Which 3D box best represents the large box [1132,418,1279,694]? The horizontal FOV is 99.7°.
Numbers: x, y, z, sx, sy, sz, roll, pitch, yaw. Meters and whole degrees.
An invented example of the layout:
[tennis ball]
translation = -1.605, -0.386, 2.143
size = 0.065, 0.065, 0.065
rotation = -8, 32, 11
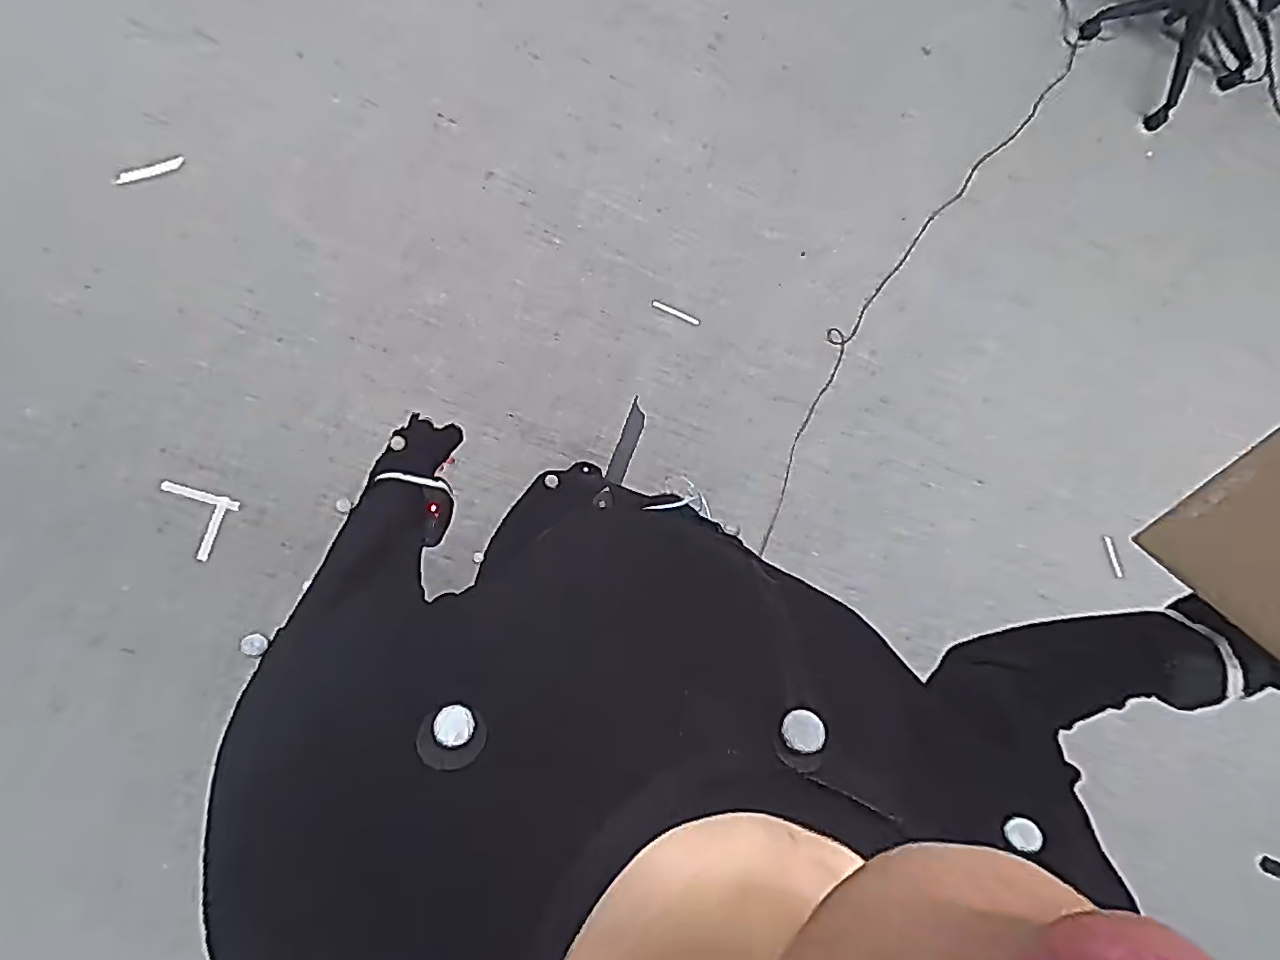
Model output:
[large box]
translation = 0.491, 0.056, 0.195
size = 0.320, 0.408, 0.320
rotation = 49, 120, 20
